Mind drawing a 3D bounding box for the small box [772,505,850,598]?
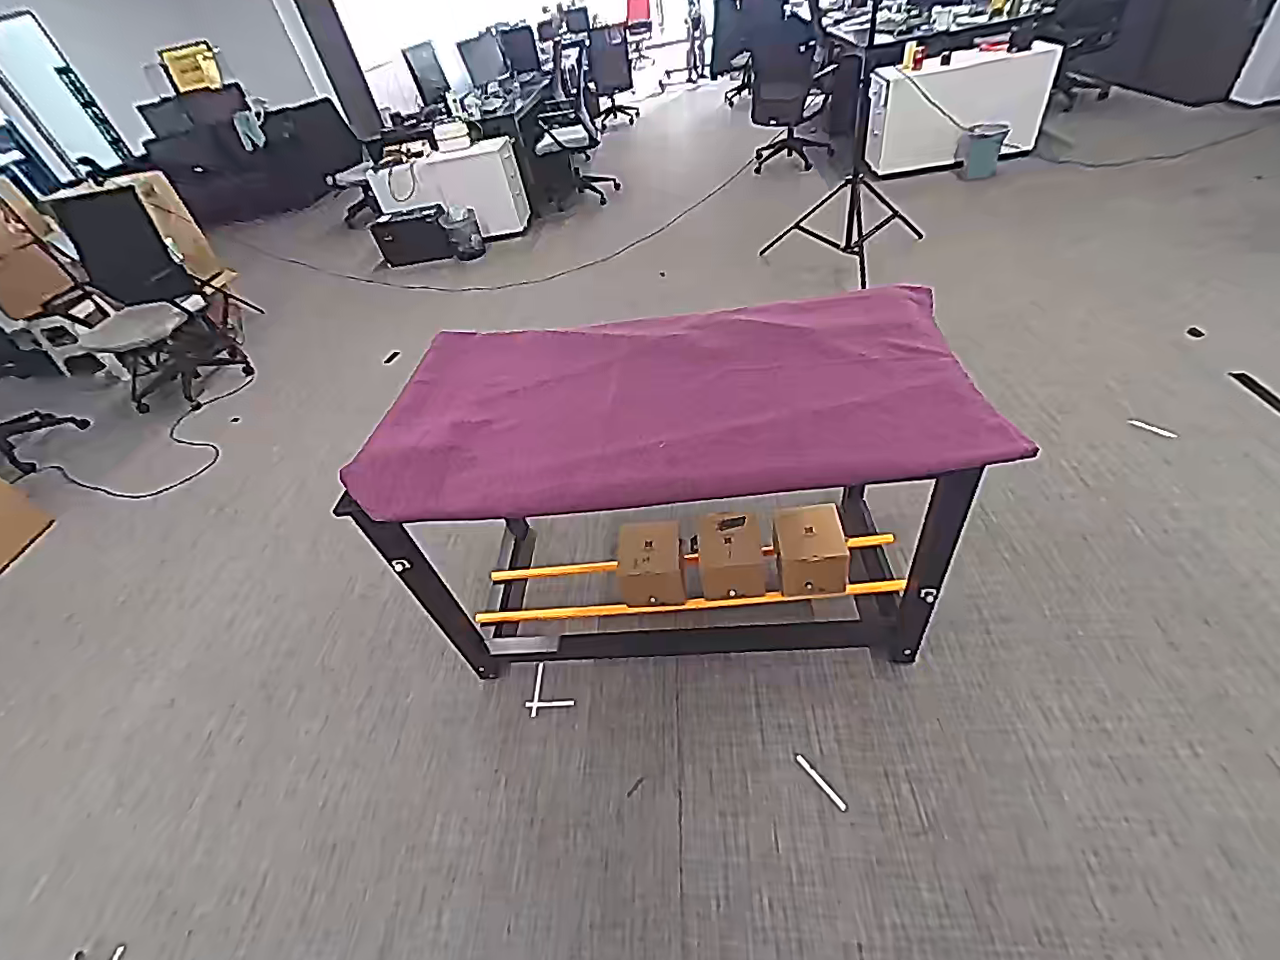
[{"bbox_3d":[0.448,0.192,1.445,0.168,0.176,0.179,-7,45,8],"label":"small box"}]

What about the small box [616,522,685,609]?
[{"bbox_3d":[0.034,0.237,1.501,0.168,0.176,0.179,-4,46,9],"label":"small box"}]
